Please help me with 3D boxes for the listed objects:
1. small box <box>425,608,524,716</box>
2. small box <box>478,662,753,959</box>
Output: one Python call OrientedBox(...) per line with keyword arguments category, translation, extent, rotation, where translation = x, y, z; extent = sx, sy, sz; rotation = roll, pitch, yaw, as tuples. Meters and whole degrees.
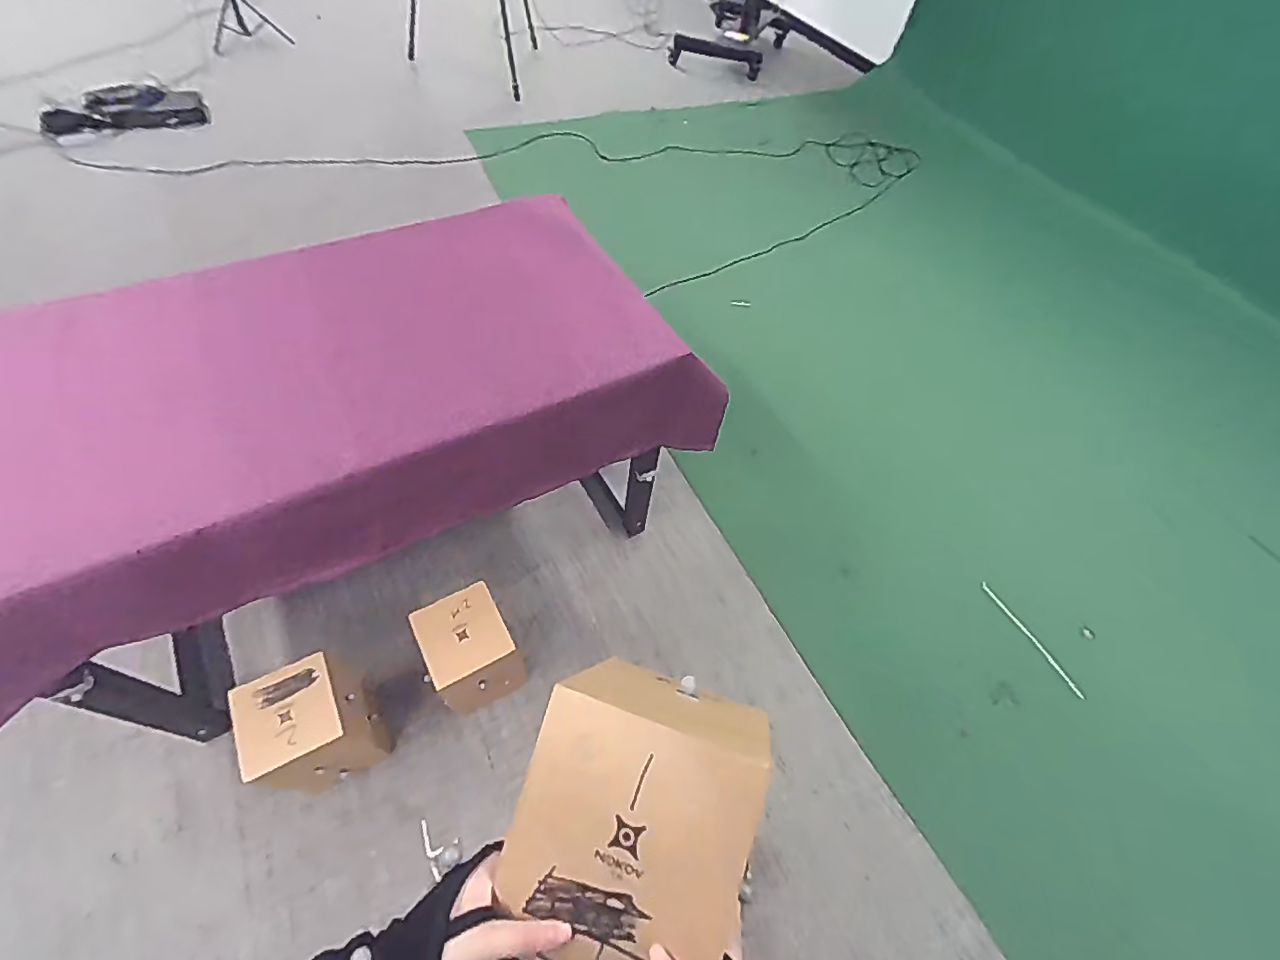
OrientedBox(category="small box", translation=(-0.396, 0.447, 1.315), extent=(0.179, 0.176, 0.168), rotation=(-22, 61, -20))
OrientedBox(category="small box", translation=(-0.003, 0.274, 0.463), extent=(0.168, 0.176, 0.179), rotation=(16, 81, 15))
